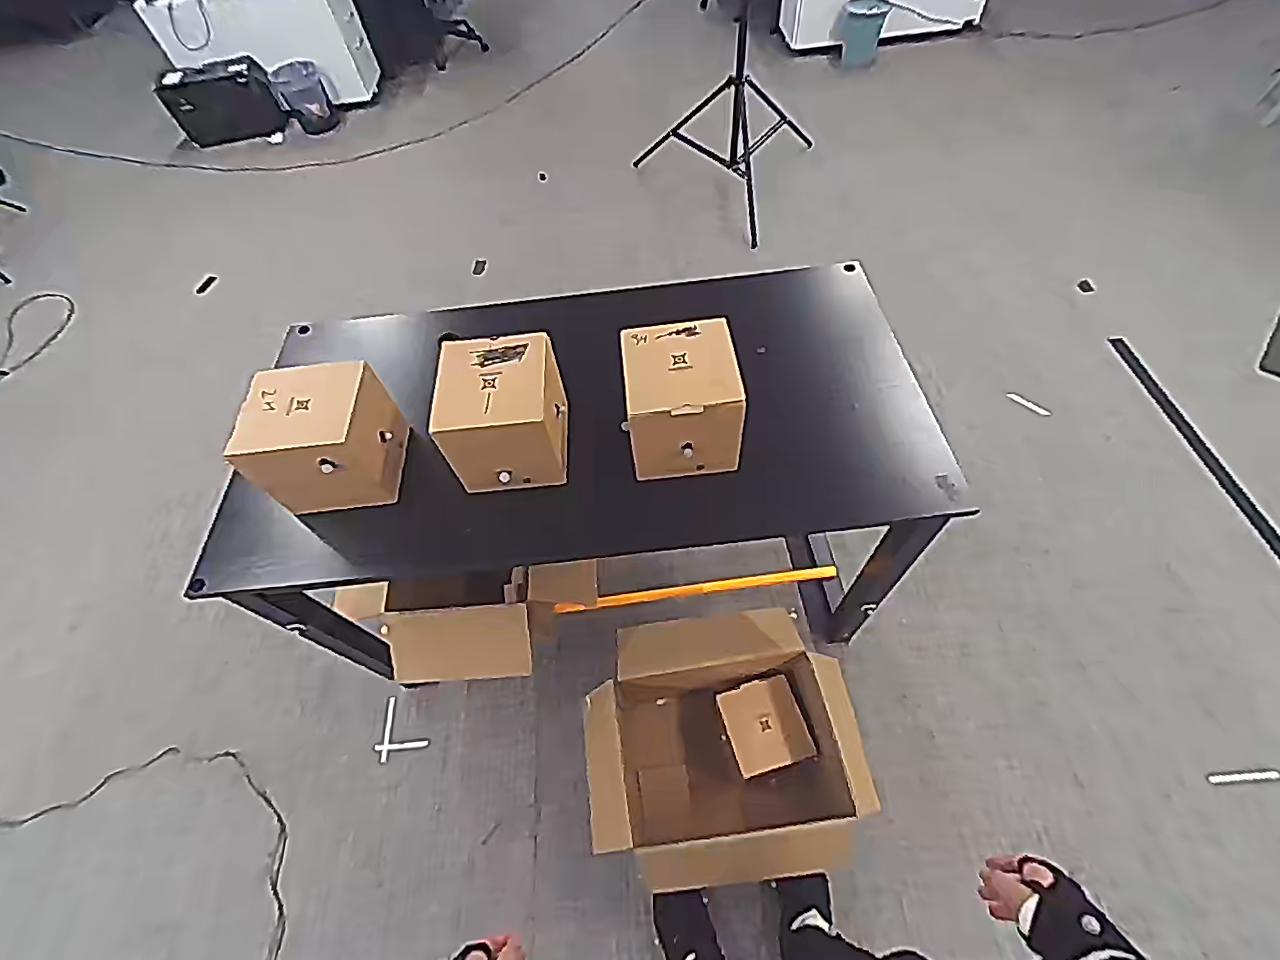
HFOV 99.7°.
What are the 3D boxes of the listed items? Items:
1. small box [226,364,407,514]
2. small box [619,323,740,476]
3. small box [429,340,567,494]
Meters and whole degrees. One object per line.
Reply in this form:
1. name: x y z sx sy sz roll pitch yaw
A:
1. small box: -0.497 -0.061 0.866 0.179 0.176 0.168 -7 56 0
2. small box: 0.060 -0.118 0.858 0.168 0.176 0.179 -6 57 1
3. small box: -0.215 -0.098 0.868 0.168 0.176 0.179 -6 57 2
